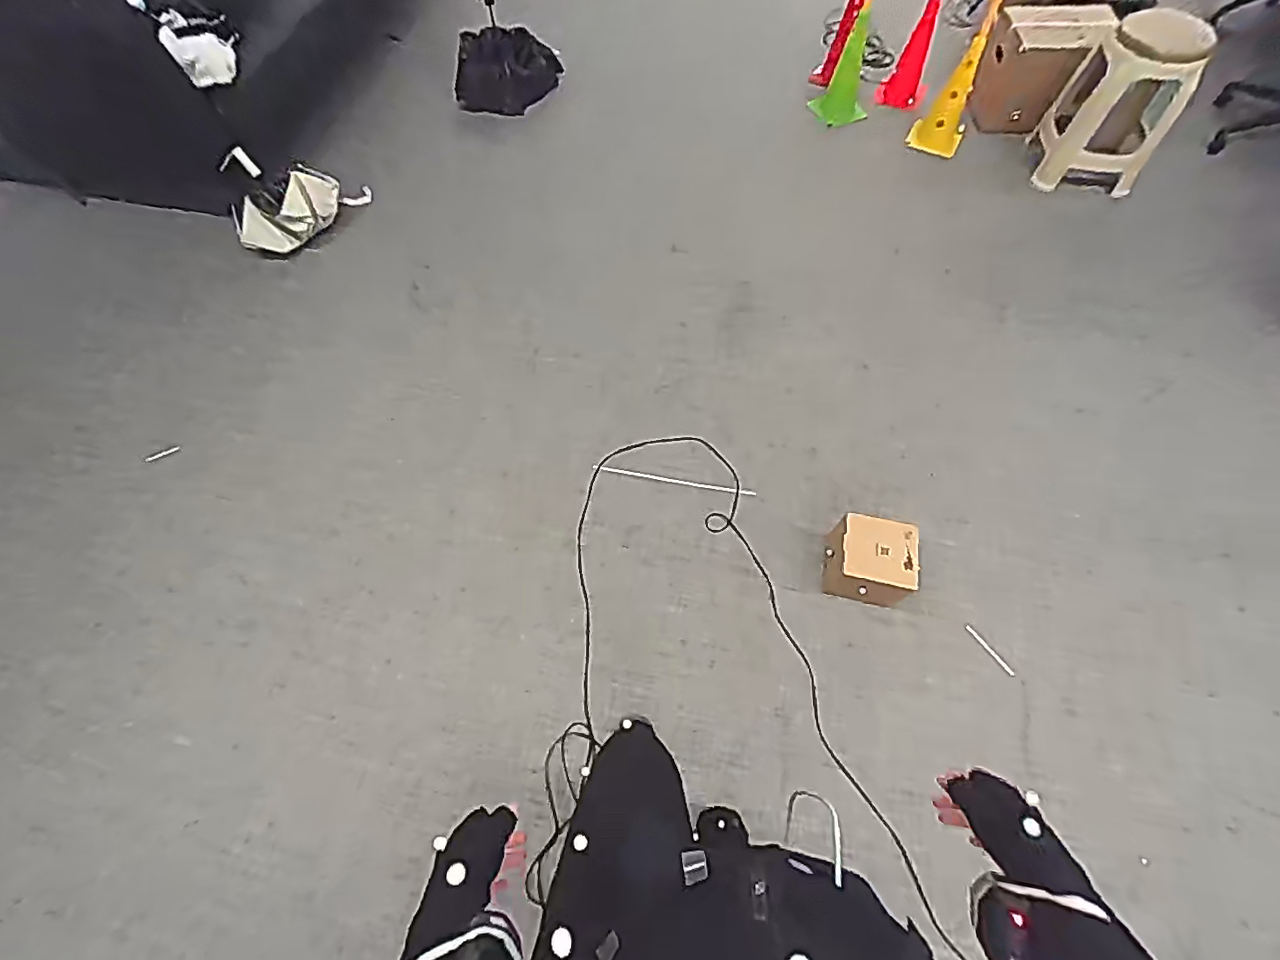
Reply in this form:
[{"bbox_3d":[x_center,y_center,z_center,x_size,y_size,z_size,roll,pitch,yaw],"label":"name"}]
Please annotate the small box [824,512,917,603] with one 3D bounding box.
[{"bbox_3d":[0.576,0.201,1.368,0.179,0.176,0.168,12,65,7],"label":"small box"}]
